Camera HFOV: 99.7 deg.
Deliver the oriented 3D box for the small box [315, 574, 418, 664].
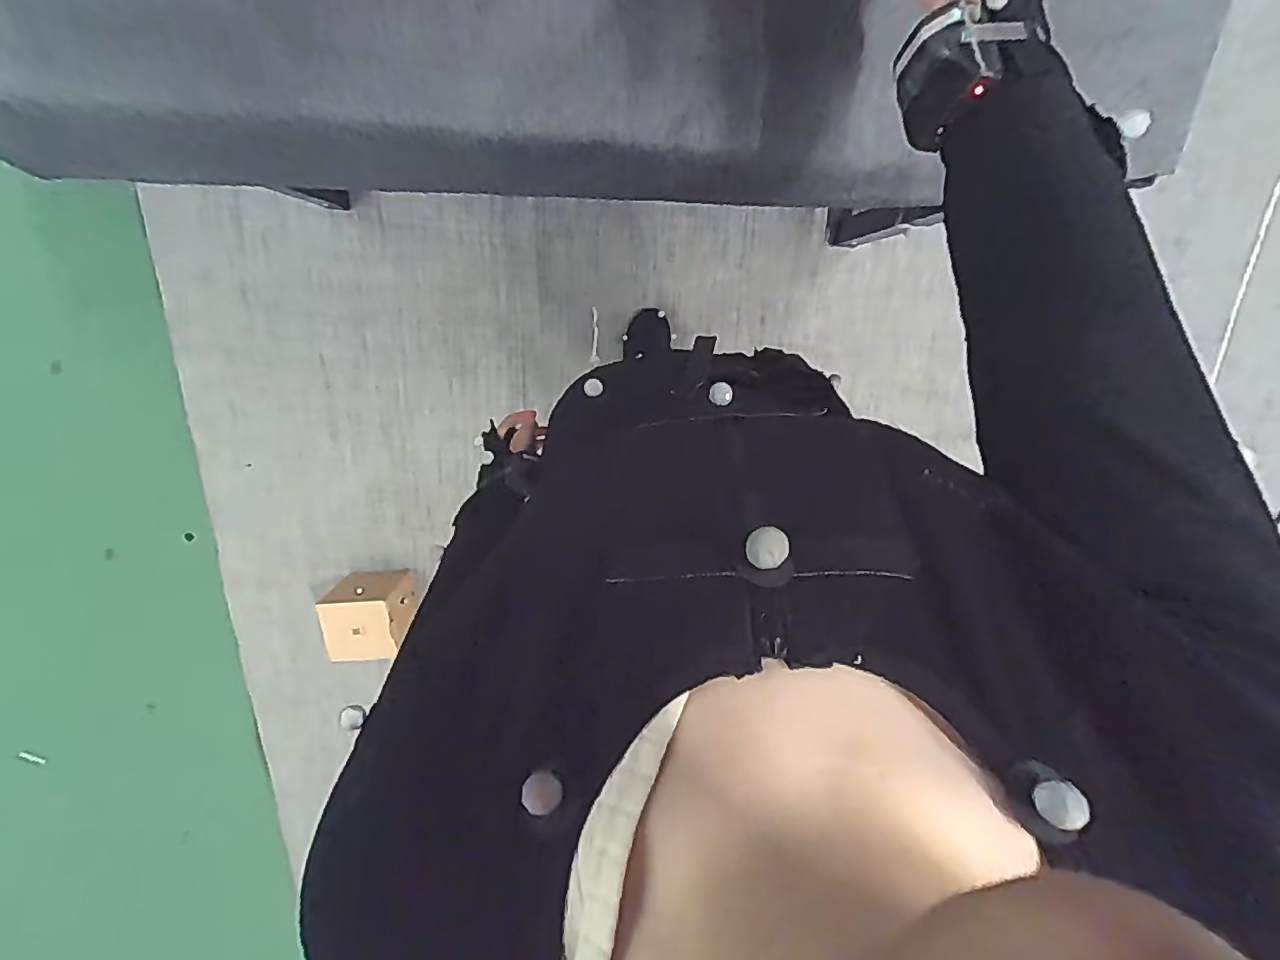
[{"bbox_3d":[-0.694,0.353,1.399,0.179,0.176,0.168,-4,106,1],"label":"small box"}]
